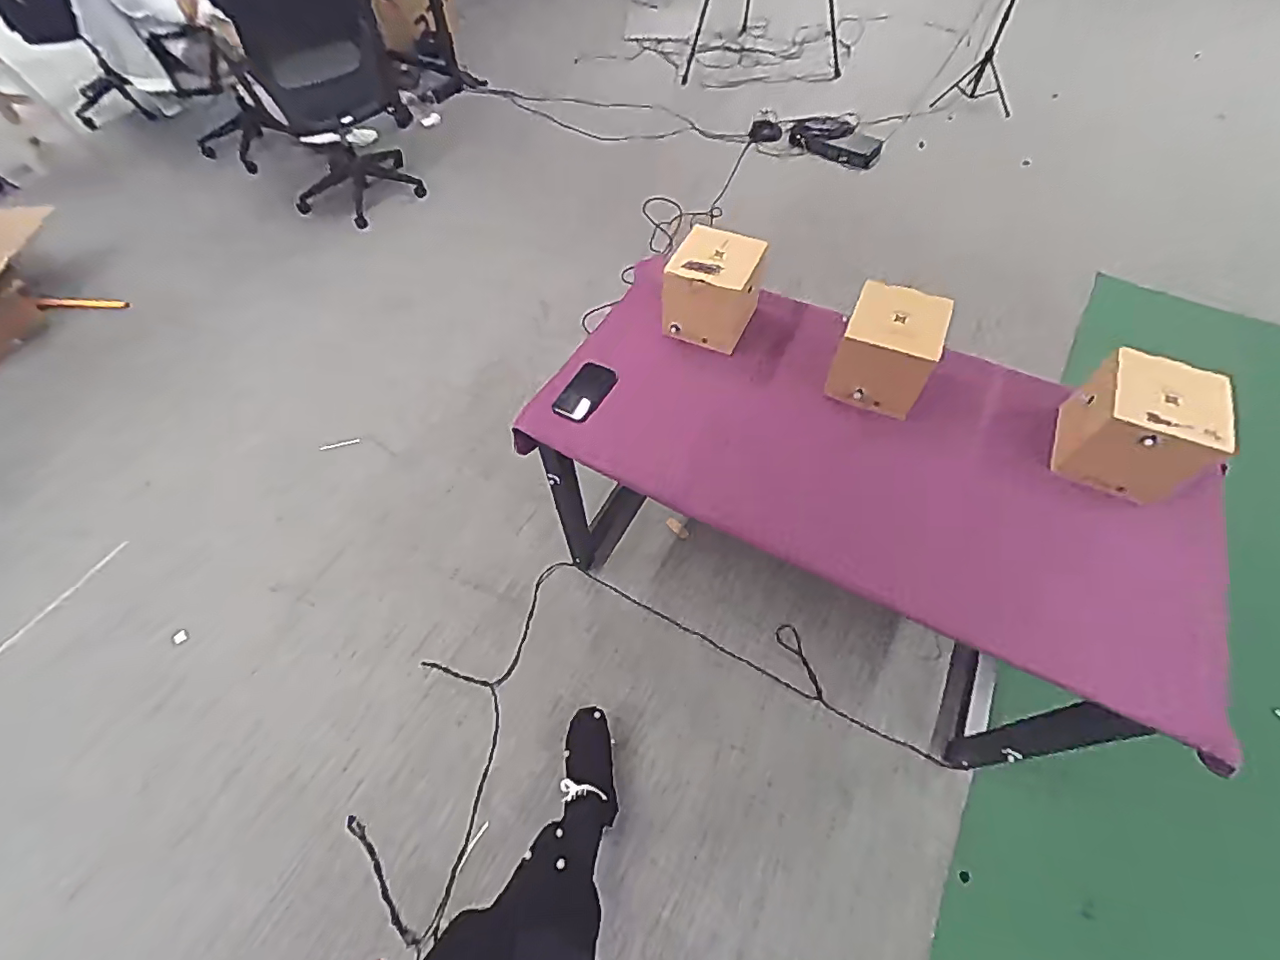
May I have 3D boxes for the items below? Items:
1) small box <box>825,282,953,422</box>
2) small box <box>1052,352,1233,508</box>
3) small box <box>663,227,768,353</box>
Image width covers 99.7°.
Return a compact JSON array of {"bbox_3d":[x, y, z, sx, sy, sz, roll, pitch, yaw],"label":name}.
[{"bbox_3d":[0.477,-0.248,1.056,0.168,0.176,0.179,21,60,15],"label":"small box"},{"bbox_3d":[0.857,-0.084,0.939,0.168,0.176,0.179,23,60,16],"label":"small box"},{"bbox_3d":[0.158,-0.404,1.161,0.168,0.176,0.179,22,59,14],"label":"small box"}]
